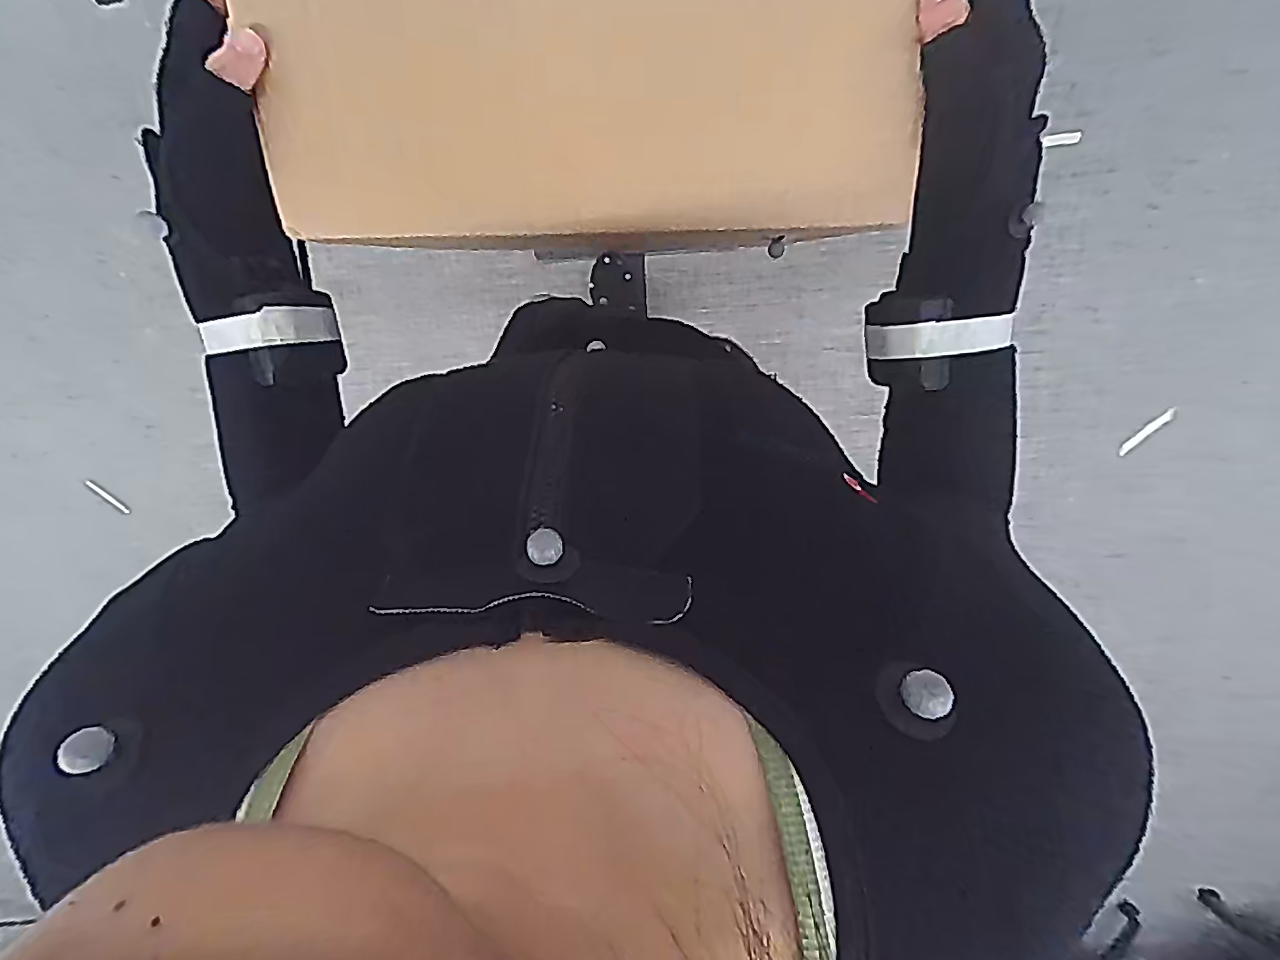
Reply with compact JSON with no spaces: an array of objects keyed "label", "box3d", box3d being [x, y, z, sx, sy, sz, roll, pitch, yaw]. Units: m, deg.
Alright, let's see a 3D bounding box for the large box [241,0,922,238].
[{"label":"large box","box3d":[-0.032,-0.371,0.437,0.408,0.320,0.320,-1,112,1]}]
